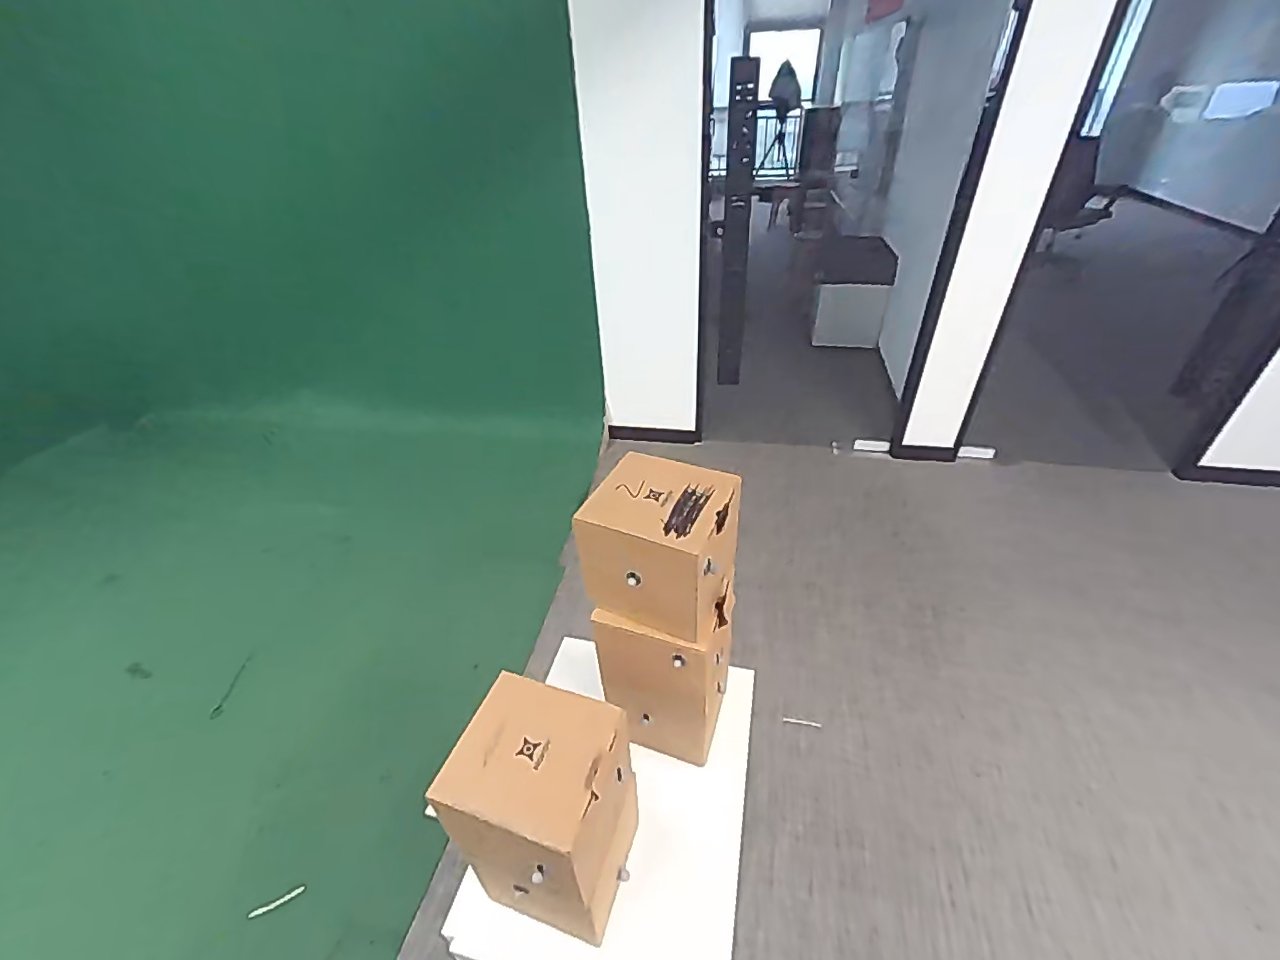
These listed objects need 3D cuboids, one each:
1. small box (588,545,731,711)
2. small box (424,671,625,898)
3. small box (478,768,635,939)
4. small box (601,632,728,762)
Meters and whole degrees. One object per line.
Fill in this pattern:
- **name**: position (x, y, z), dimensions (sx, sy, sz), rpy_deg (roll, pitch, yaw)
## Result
- **small box**: position (0.036, 0.231, 0.849), dimensions (0.179, 0.176, 0.168), rpy_deg (11, 39, 17)
- **small box**: position (-0.125, 0.374, 0.667), dimensions (0.179, 0.176, 0.168), rpy_deg (10, 37, 16)
- **small box**: position (-0.115, 0.503, 0.765), dimensions (0.179, 0.176, 0.168), rpy_deg (11, 38, 16)
- **small box**: position (0.048, 0.360, 0.948), dimensions (0.179, 0.176, 0.168), rpy_deg (11, 40, 18)
